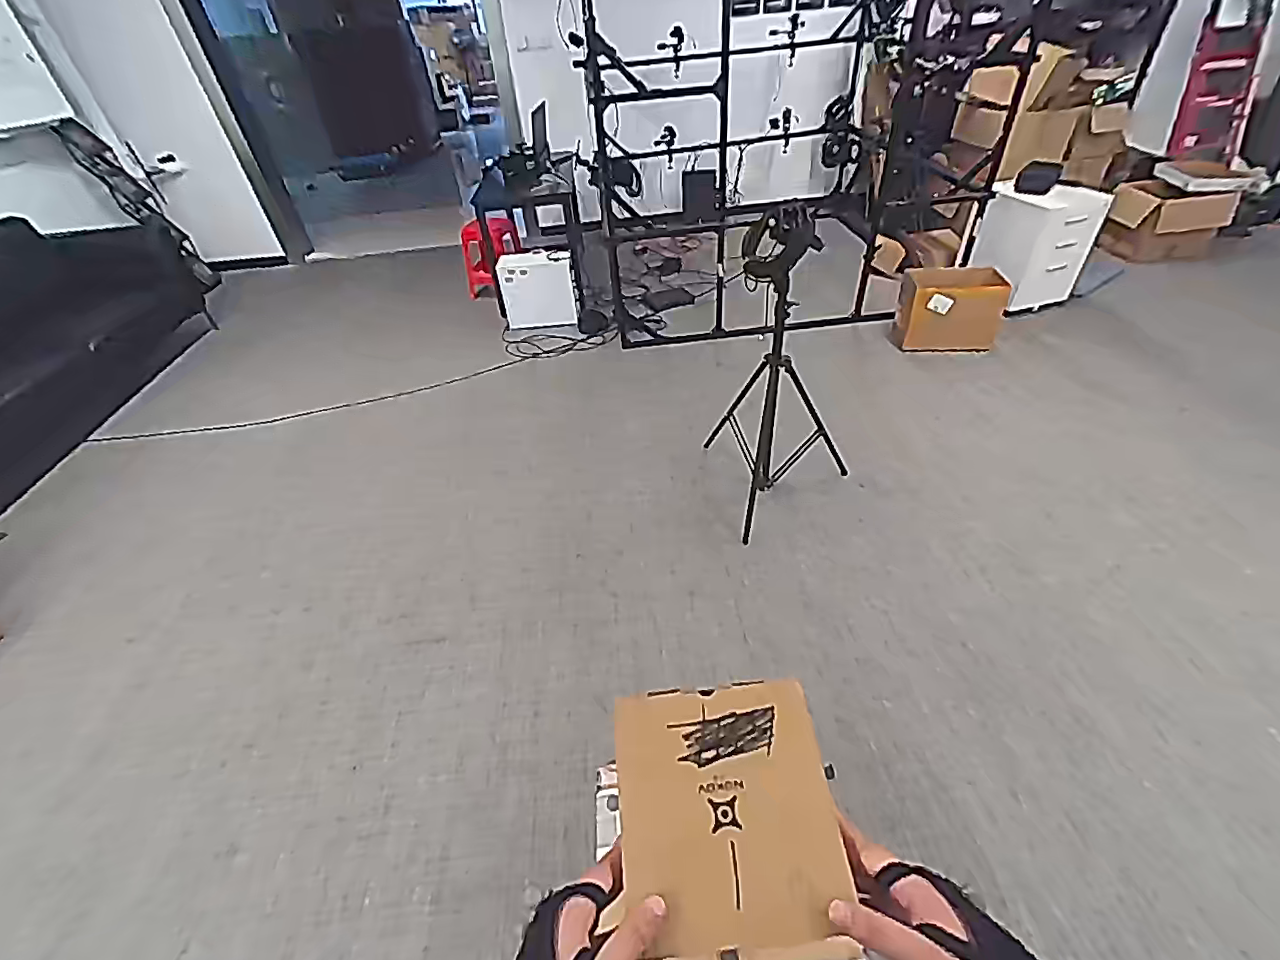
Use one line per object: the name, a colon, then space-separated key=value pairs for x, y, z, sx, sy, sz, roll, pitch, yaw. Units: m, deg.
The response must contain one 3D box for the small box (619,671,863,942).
small box: x=0.071 y=0.293 z=0.488 sx=0.168 sy=0.176 sz=0.179 roll=-6 pitch=52 yaw=-1
